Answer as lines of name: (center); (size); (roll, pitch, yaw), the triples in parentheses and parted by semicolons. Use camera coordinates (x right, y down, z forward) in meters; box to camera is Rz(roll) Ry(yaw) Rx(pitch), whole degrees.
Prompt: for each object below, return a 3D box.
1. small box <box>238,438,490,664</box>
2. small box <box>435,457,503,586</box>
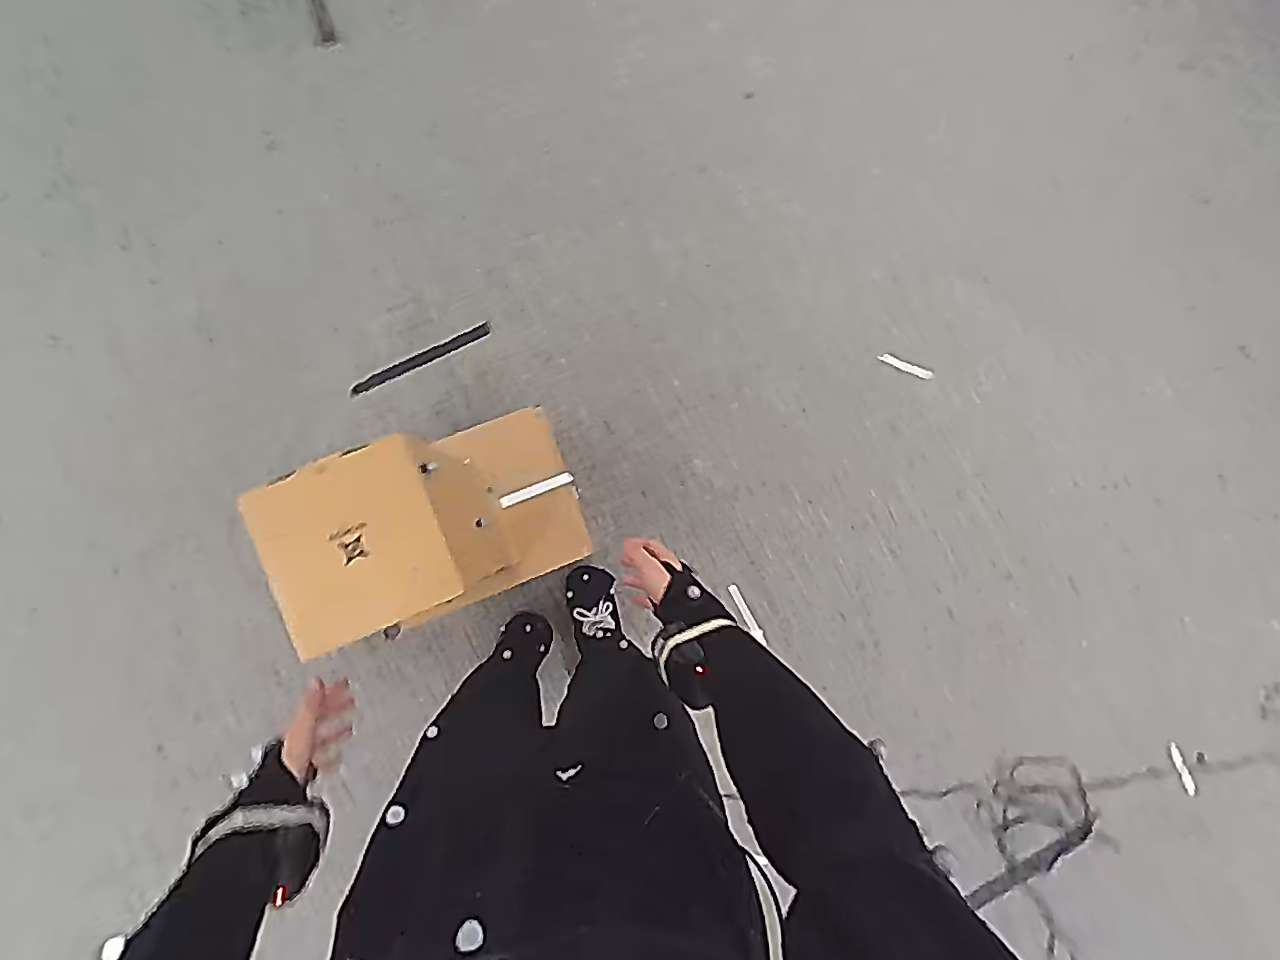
small box: (-0.284, 0.071, 0.601); (0.168, 0.176, 0.179); (-24, 88, -7)
small box: (-0.306, 0.080, 0.763); (0.168, 0.176, 0.179); (-22, 90, -8)
